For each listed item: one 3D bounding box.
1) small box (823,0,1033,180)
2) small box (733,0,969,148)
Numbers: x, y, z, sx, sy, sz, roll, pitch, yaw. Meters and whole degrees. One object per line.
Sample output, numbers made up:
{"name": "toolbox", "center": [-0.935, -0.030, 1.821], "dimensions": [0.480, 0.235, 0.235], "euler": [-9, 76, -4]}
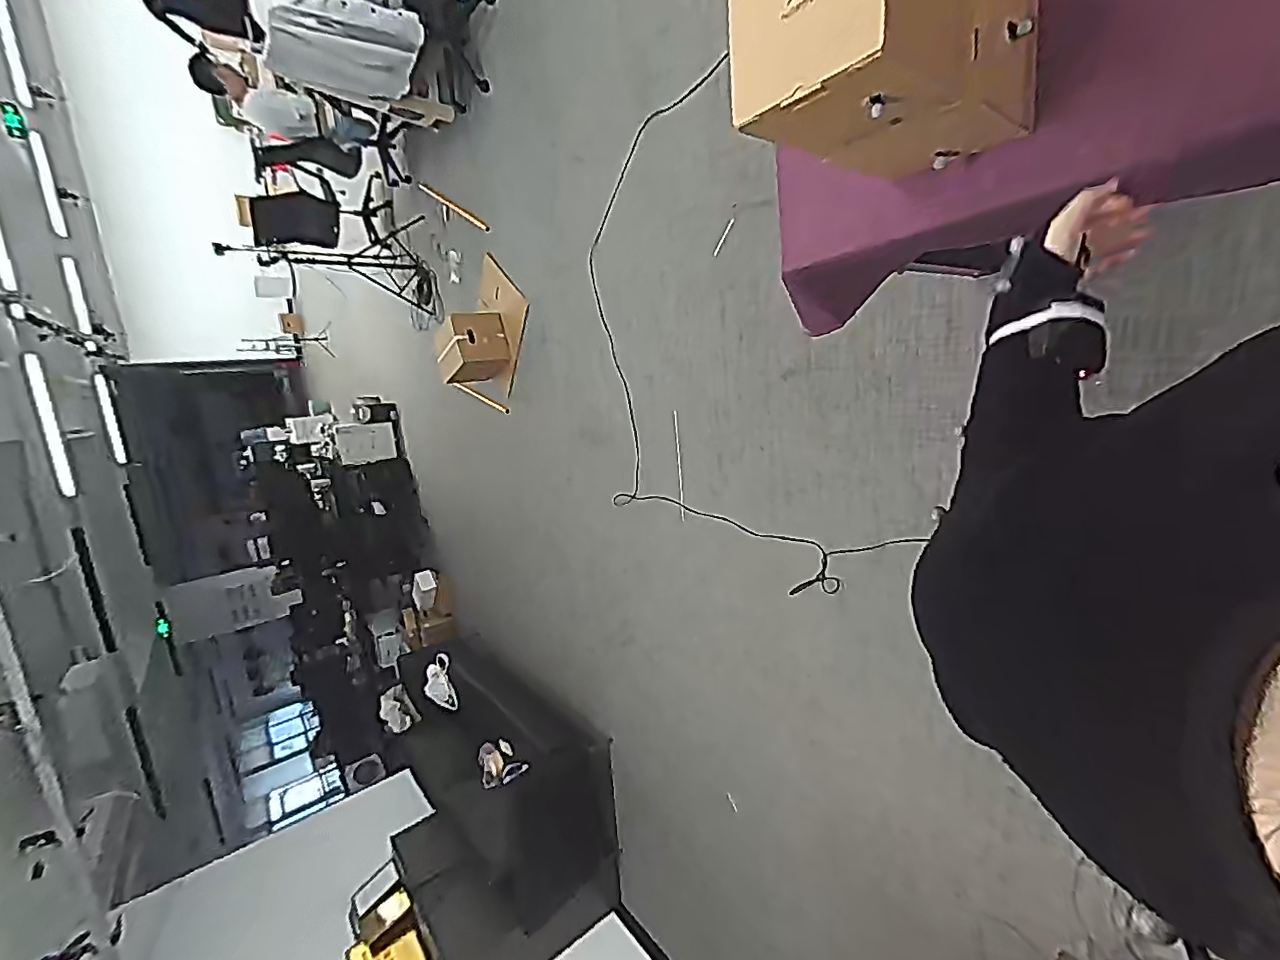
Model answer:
{"name": "small box", "center": [0.340, -0.482, 0.643], "dimensions": [0.179, 0.176, 0.168], "euler": [9, 106, 51]}
{"name": "small box", "center": [0.211, -0.459, 0.544], "dimensions": [0.168, 0.176, 0.179], "euler": [11, 108, 51]}
